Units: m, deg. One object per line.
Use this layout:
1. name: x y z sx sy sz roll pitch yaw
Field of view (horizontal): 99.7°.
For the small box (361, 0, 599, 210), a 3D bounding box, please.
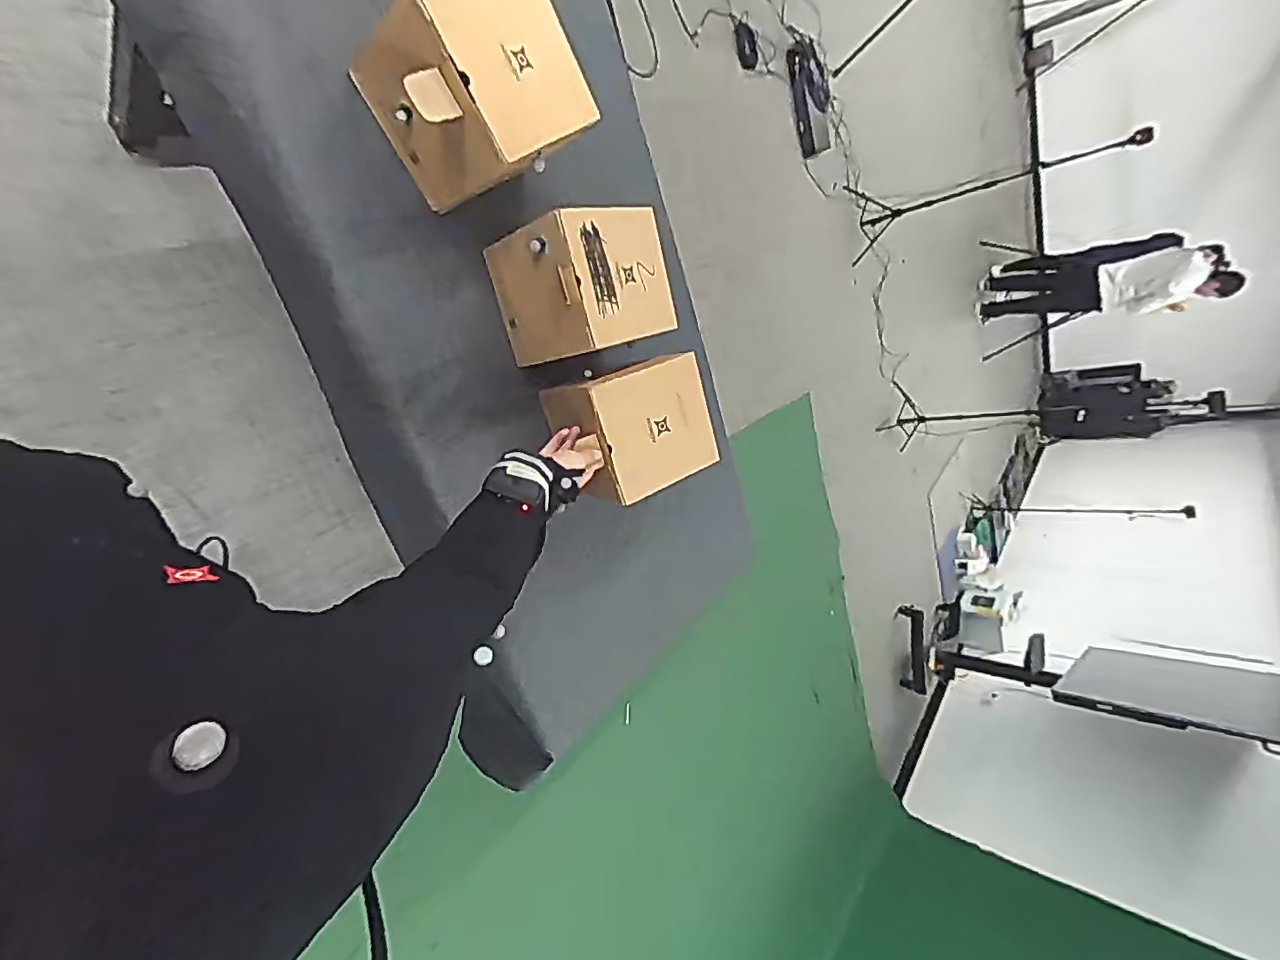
1. small box: -0.187 -0.454 0.641 0.179 0.176 0.168 -50 125 -33
